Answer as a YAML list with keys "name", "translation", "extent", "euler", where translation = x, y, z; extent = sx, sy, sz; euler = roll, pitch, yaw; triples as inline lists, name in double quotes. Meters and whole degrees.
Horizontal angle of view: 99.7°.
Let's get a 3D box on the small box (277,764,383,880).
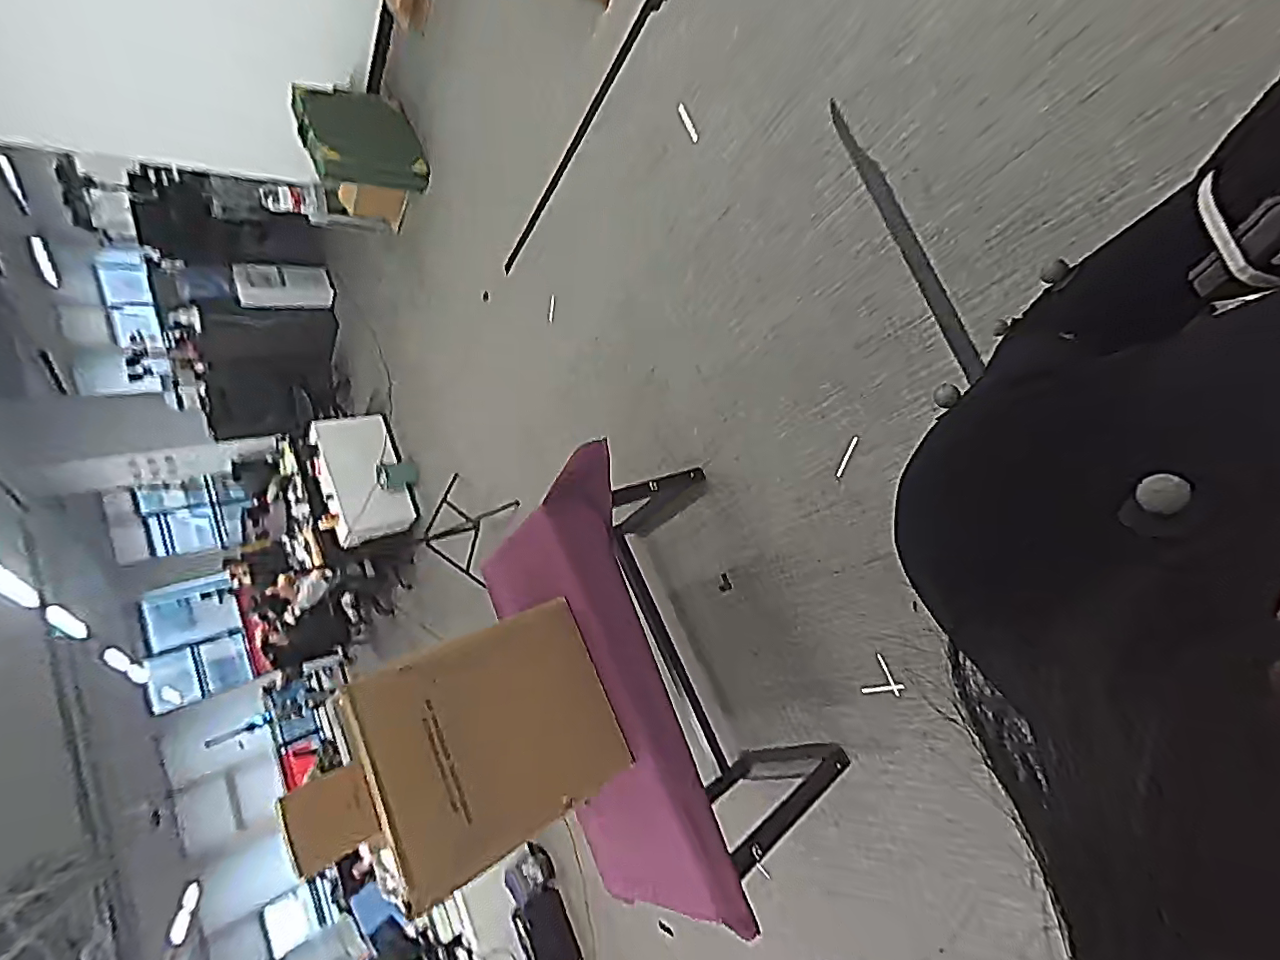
- name: "small box"
  translation: [-0.722, 0.785, 1.256]
  extent: [0.168, 0.176, 0.179]
  euler: [-44, 67, 45]
